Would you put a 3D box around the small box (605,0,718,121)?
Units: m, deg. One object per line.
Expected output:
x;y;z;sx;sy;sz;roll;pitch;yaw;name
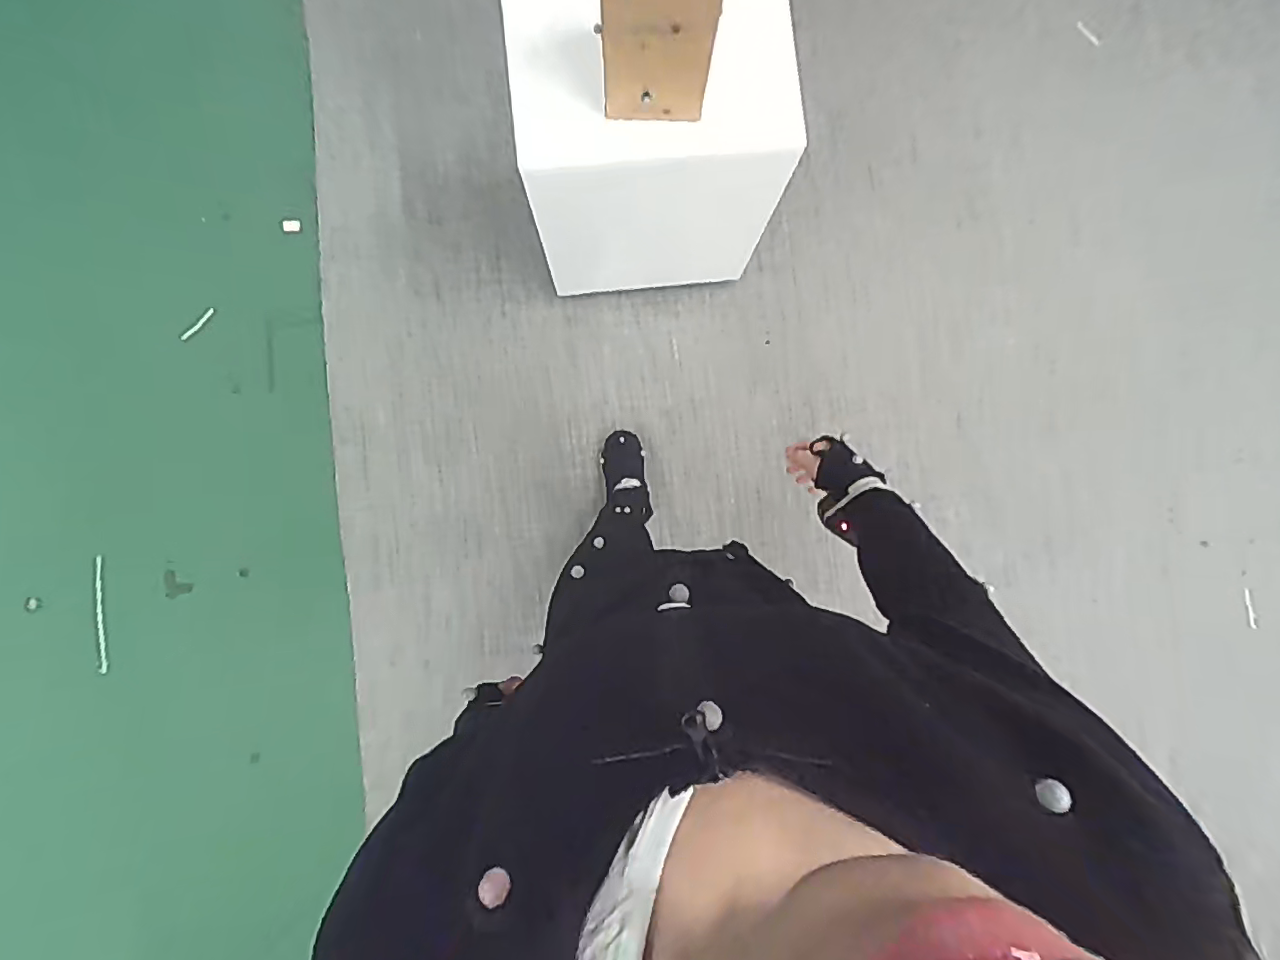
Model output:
0.029;-0.714;0.857;0.168;0.176;0.179;0;87;-2;small box
